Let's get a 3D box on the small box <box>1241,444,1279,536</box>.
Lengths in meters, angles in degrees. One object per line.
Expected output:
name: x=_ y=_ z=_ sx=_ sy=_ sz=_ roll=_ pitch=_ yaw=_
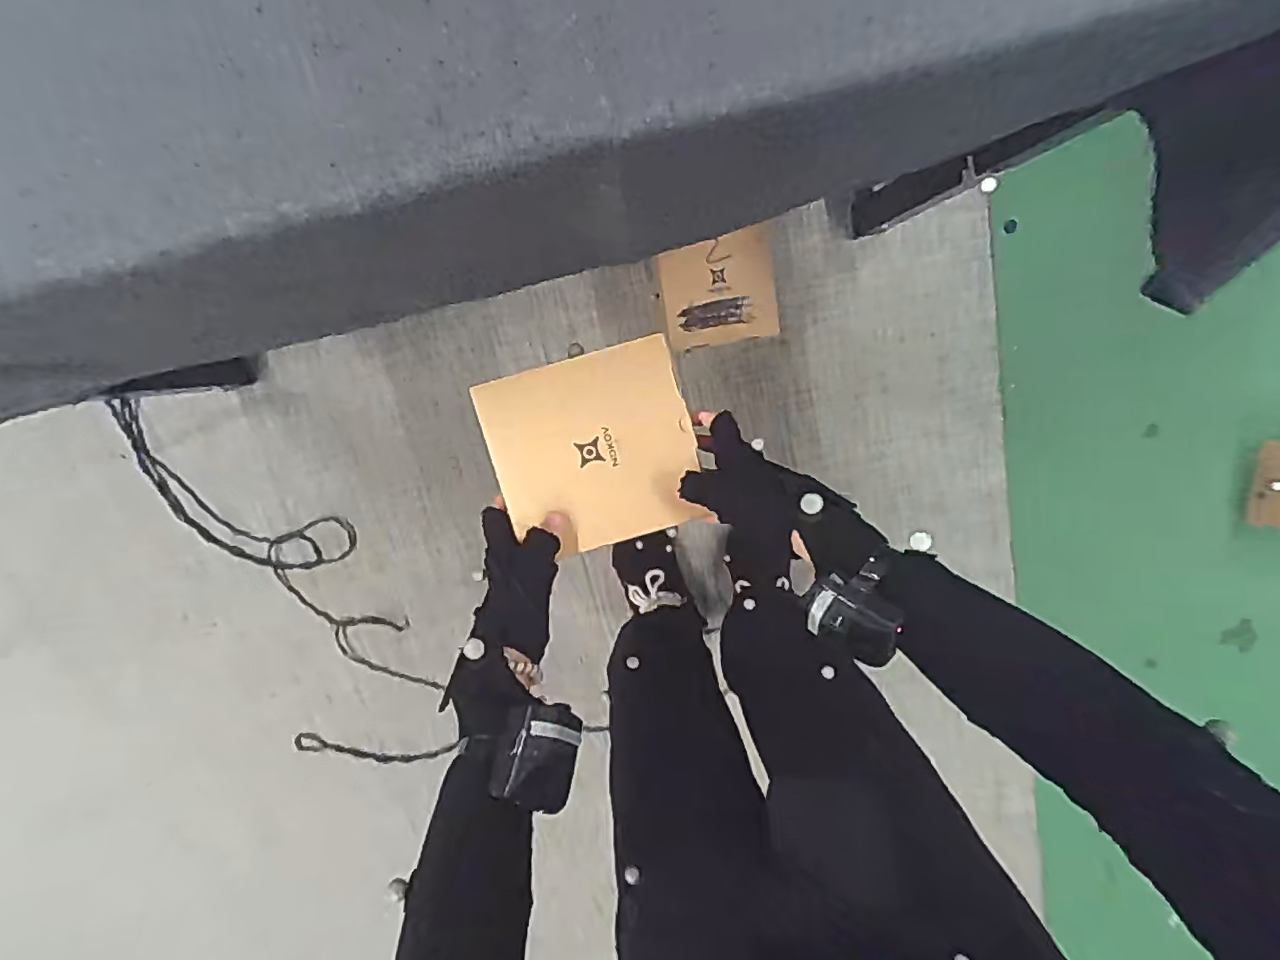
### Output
small box: x=1.272 y=0.026 z=0.974 sx=0.179 sy=0.176 sz=0.168 roll=-2 pitch=102 yaw=0

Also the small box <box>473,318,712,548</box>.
small box: x=-0.043 y=-0.043 z=0.545 sx=0.179 sy=0.176 sz=0.168 roll=-16 pitch=94 yaw=-2
